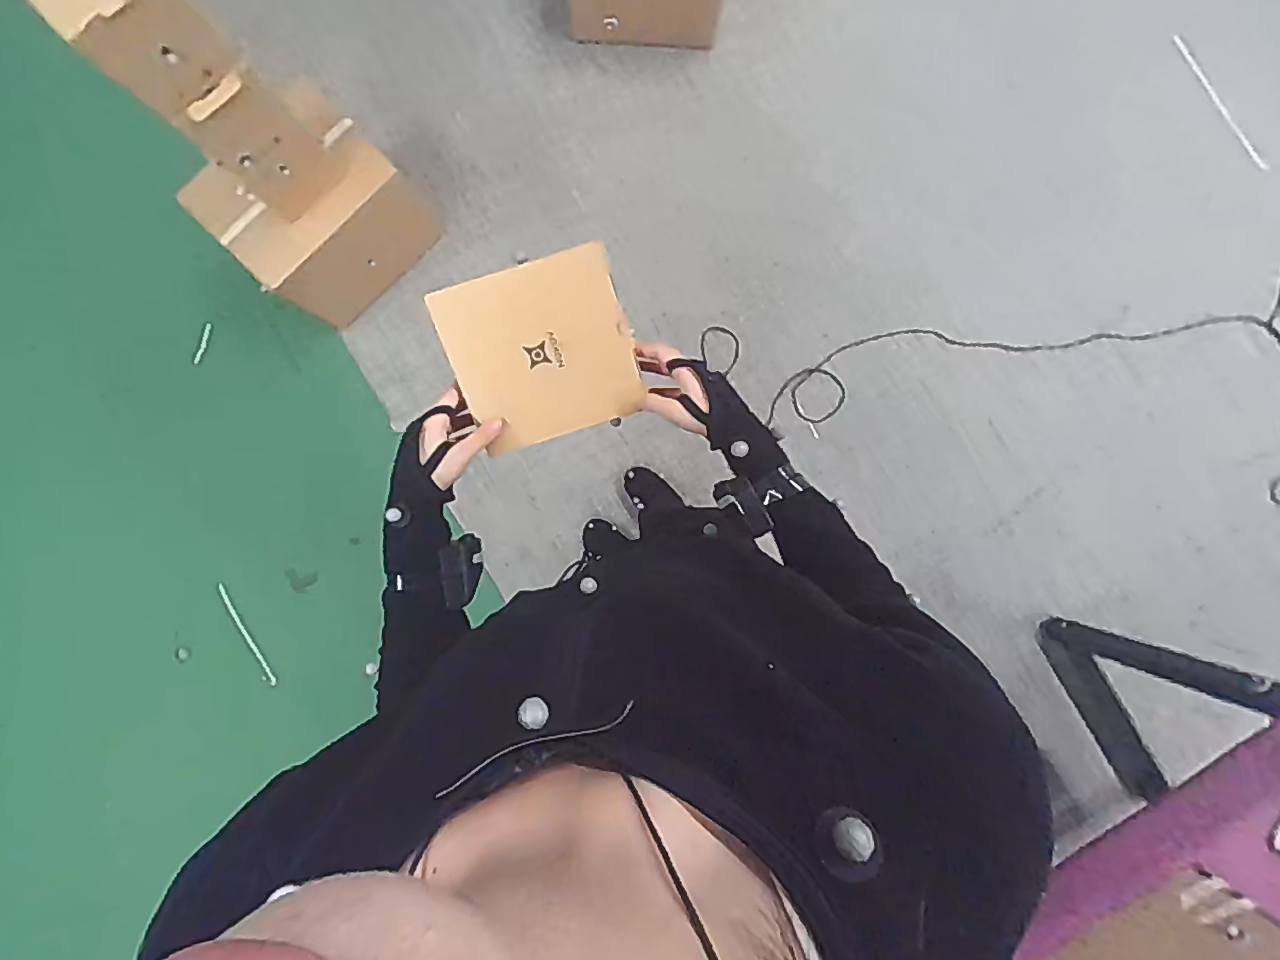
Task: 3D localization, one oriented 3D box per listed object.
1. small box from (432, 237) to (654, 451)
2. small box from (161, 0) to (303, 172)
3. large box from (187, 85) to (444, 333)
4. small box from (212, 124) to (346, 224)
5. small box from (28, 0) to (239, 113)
[{"bbox_3d":[-0.095,-0.148,0.596,0.179,0.176,0.168,-17,107,0],"label":"small box"},{"bbox_3d":[-0.764,-0.698,0.975,0.168,0.176,0.179,-40,90,-1],"label":"small box"},{"bbox_3d":[-0.792,-0.659,1.382,0.320,0.320,0.408,44,90,2],"label":"large box"},{"bbox_3d":[-0.771,-0.684,1.138,0.179,0.176,0.168,-42,91,-2],"label":"small box"},{"bbox_3d":[-0.766,-0.700,0.811,0.168,0.176,0.179,-42,92,-2],"label":"small box"}]
